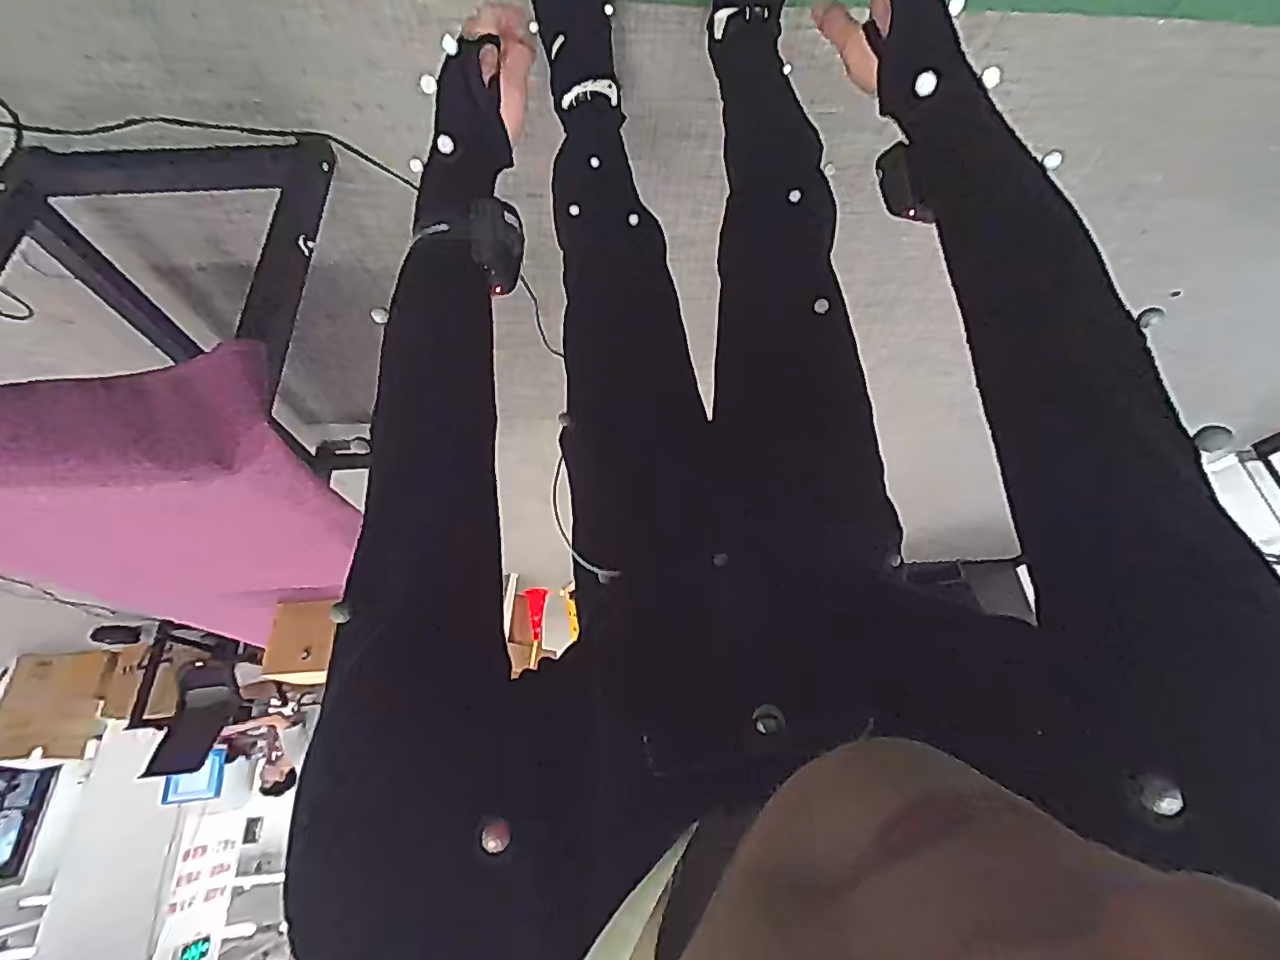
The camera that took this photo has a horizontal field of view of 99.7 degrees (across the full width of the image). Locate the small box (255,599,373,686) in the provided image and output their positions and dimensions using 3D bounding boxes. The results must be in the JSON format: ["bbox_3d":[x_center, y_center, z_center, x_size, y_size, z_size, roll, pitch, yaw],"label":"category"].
[{"bbox_3d":[-0.773,0.392,1.302,0.179,0.176,0.168,-4,153,-3],"label":"small box"}]
